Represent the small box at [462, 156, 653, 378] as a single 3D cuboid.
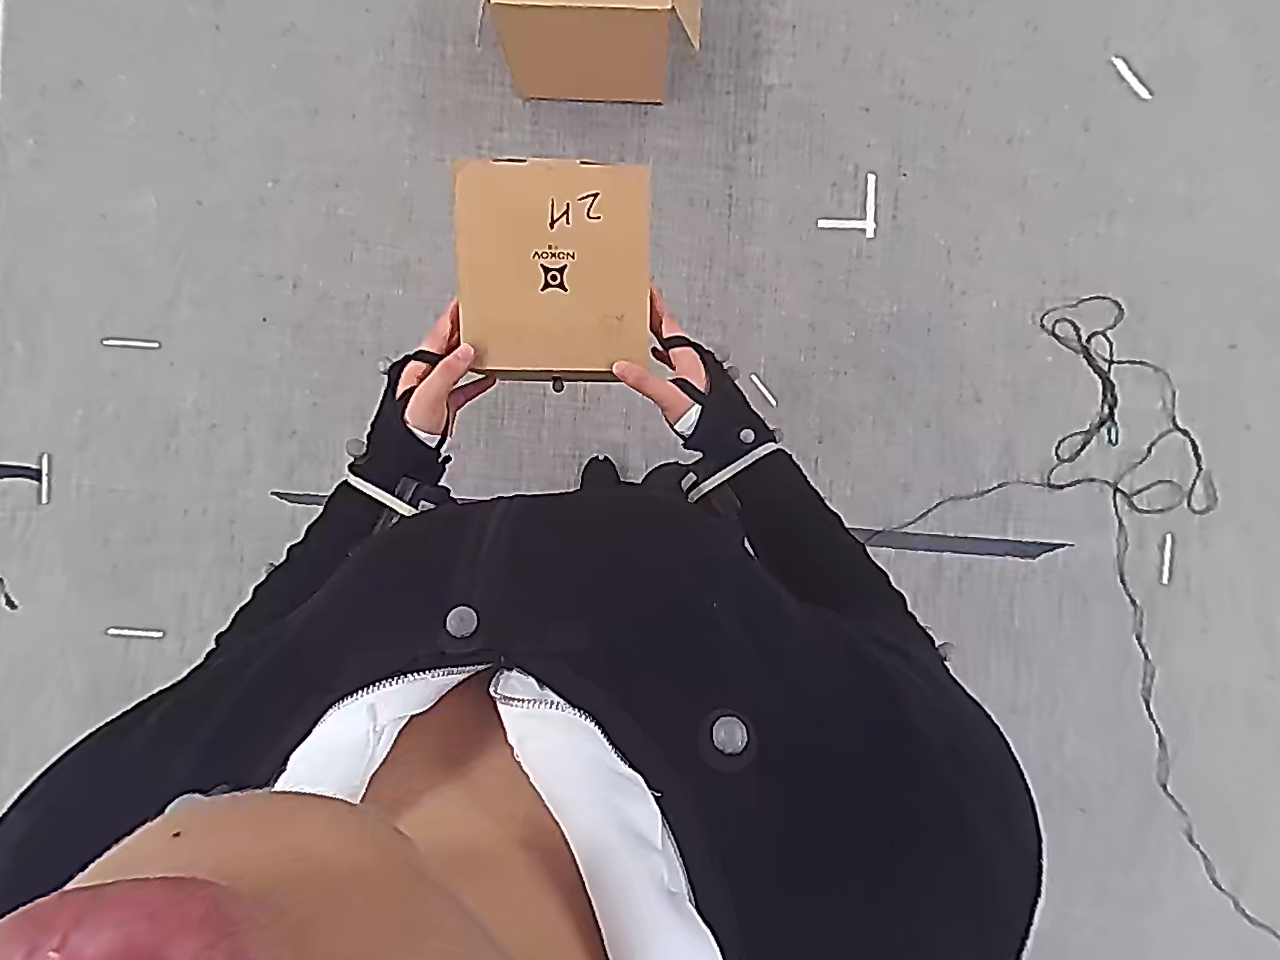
[{"bbox_3d":[-0.077,-0.197,0.552,0.168,0.176,0.179,0,96,-5],"label":"small box"}]
